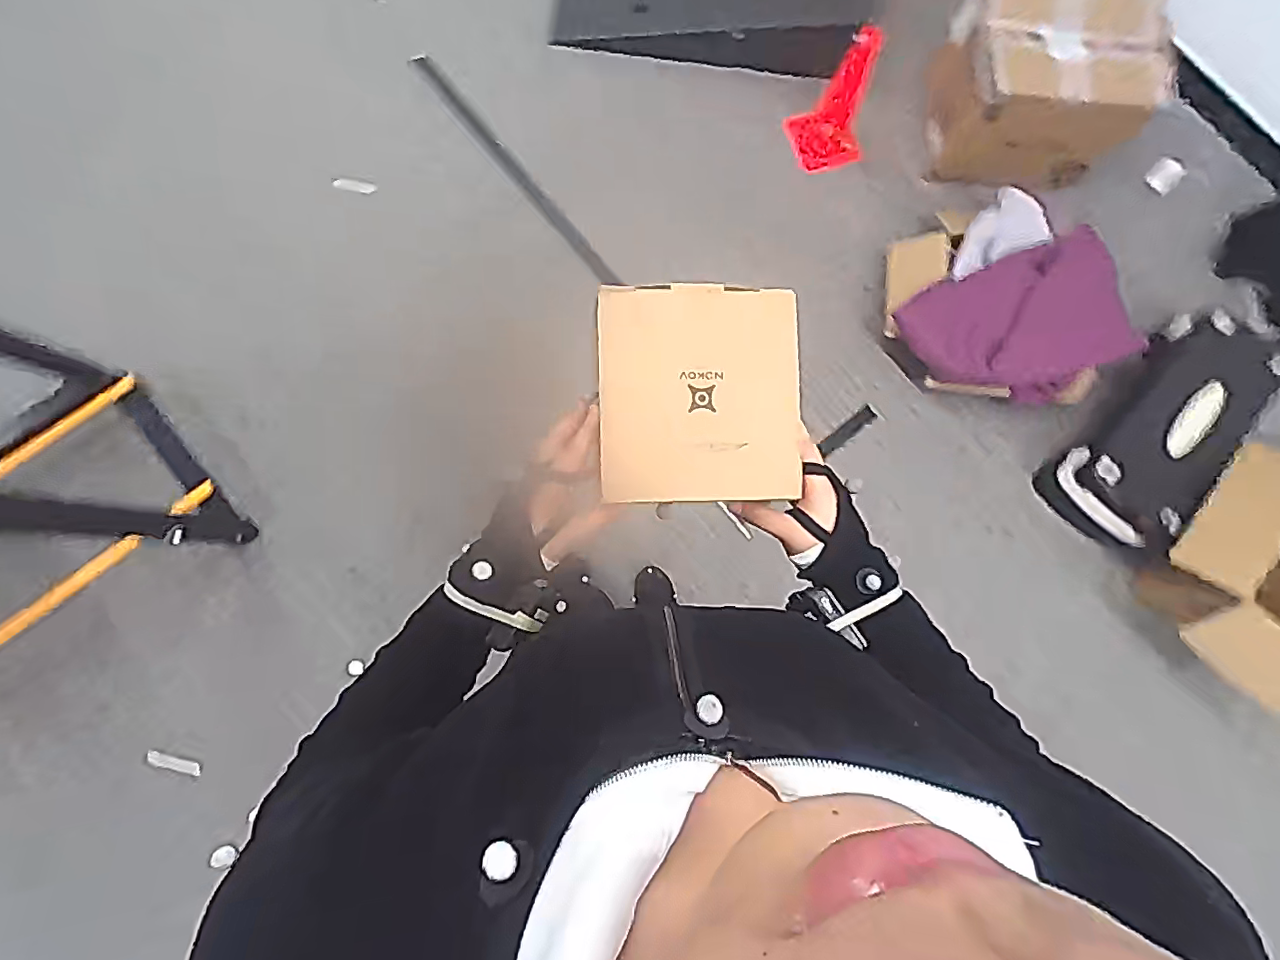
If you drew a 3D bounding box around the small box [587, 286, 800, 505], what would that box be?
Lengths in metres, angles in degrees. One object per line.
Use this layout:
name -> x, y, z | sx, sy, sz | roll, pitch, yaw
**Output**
small box -> 0.037, -0.066, 0.512 | 0.168, 0.176, 0.179 | -3, 89, -6
